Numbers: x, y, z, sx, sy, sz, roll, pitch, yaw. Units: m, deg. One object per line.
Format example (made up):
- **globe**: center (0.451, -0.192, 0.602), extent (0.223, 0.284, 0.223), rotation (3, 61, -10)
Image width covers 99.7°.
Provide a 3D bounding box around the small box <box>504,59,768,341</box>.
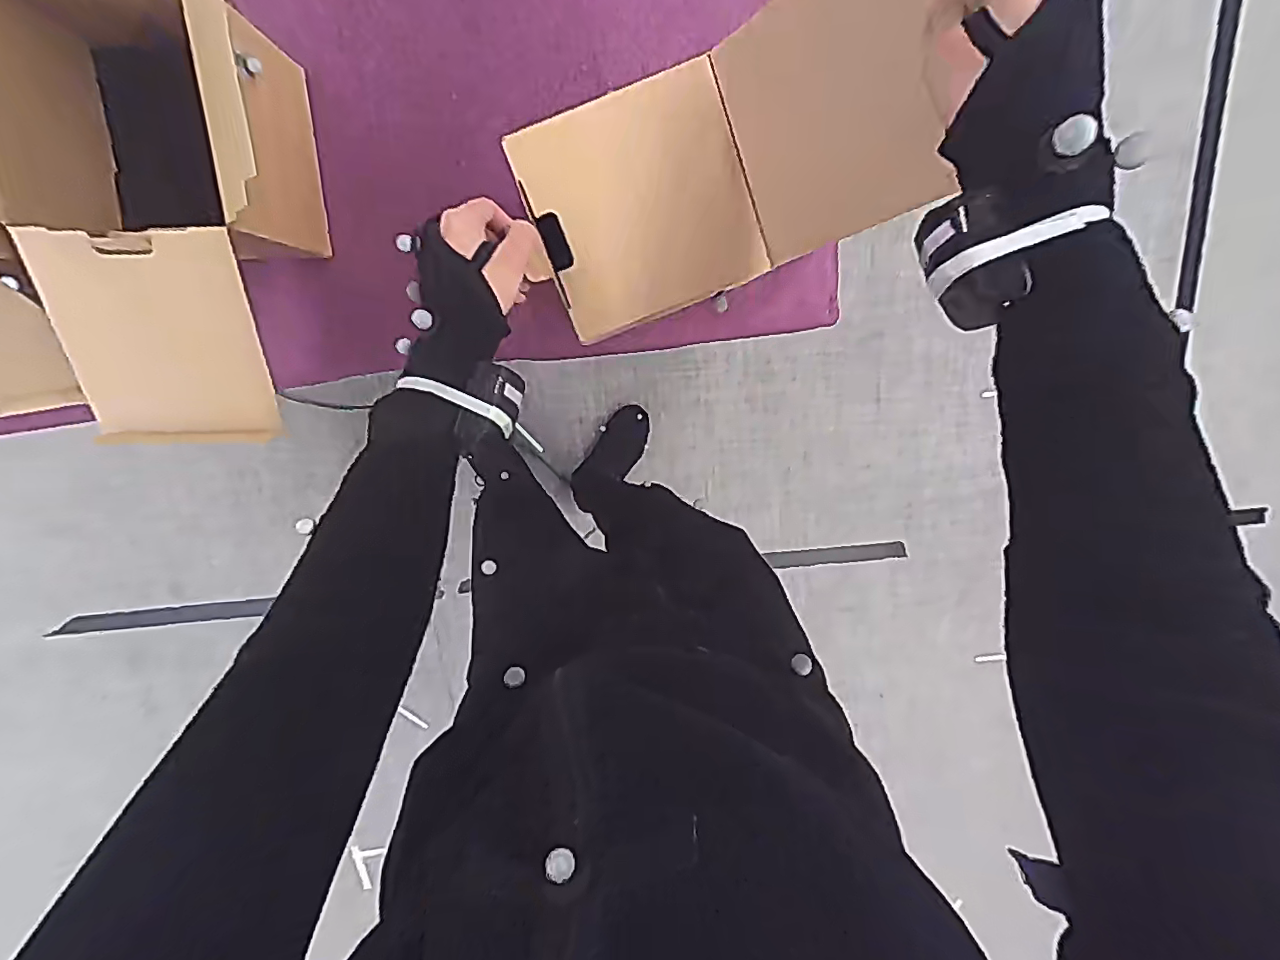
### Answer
- **small box**: center (-0.004, -0.238, 0.507), extent (0.179, 0.176, 0.168), rotation (-19, 104, 2)
